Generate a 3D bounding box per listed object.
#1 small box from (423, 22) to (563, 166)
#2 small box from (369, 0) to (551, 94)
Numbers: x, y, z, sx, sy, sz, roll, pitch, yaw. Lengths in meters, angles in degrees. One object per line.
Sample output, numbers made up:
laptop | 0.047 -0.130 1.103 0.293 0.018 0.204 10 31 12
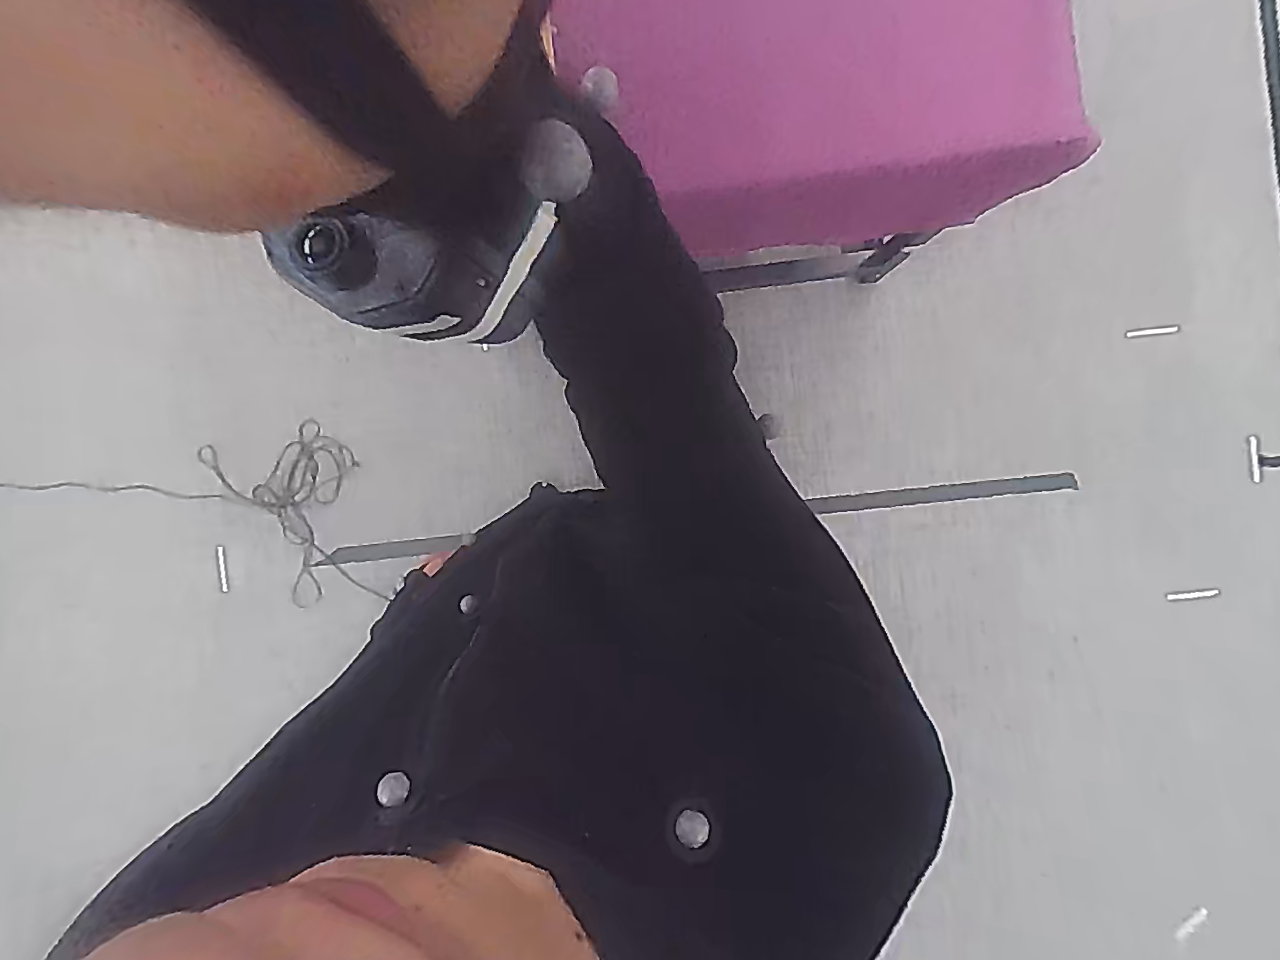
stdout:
small box | -0.213 -0.602 0.796 0.168 0.176 0.179 -6 92 2
small box | -0.212 -0.592 0.634 0.179 0.176 0.168 -5 92 1
